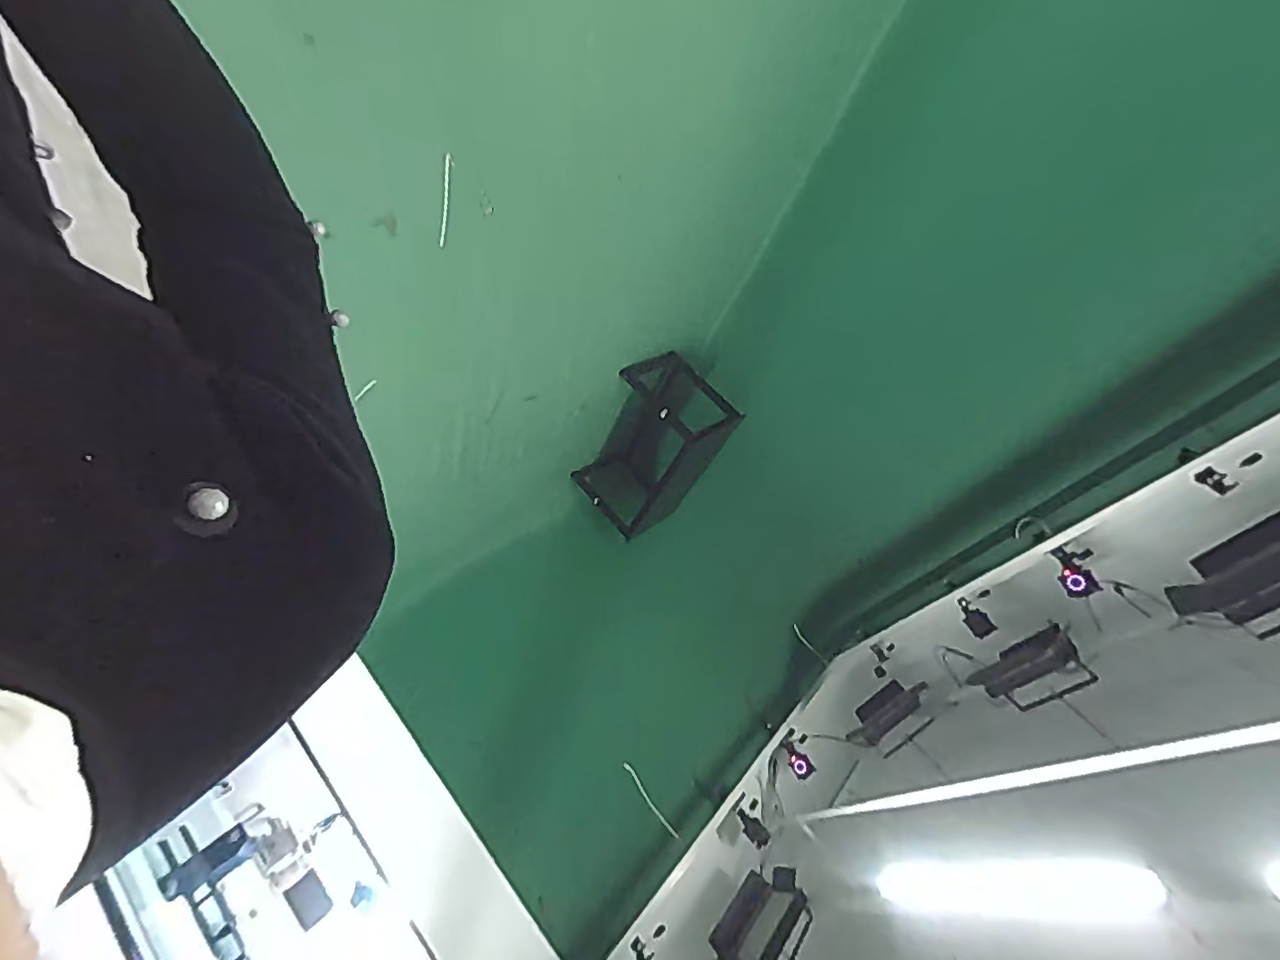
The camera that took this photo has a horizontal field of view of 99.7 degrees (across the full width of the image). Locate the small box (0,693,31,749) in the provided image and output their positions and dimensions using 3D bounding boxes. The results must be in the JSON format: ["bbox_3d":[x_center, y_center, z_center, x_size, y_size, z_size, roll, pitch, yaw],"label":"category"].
[{"bbox_3d":[-1.818,0.696,1.464,0.168,0.176,0.179,-27,158,-41],"label":"small box"}]
